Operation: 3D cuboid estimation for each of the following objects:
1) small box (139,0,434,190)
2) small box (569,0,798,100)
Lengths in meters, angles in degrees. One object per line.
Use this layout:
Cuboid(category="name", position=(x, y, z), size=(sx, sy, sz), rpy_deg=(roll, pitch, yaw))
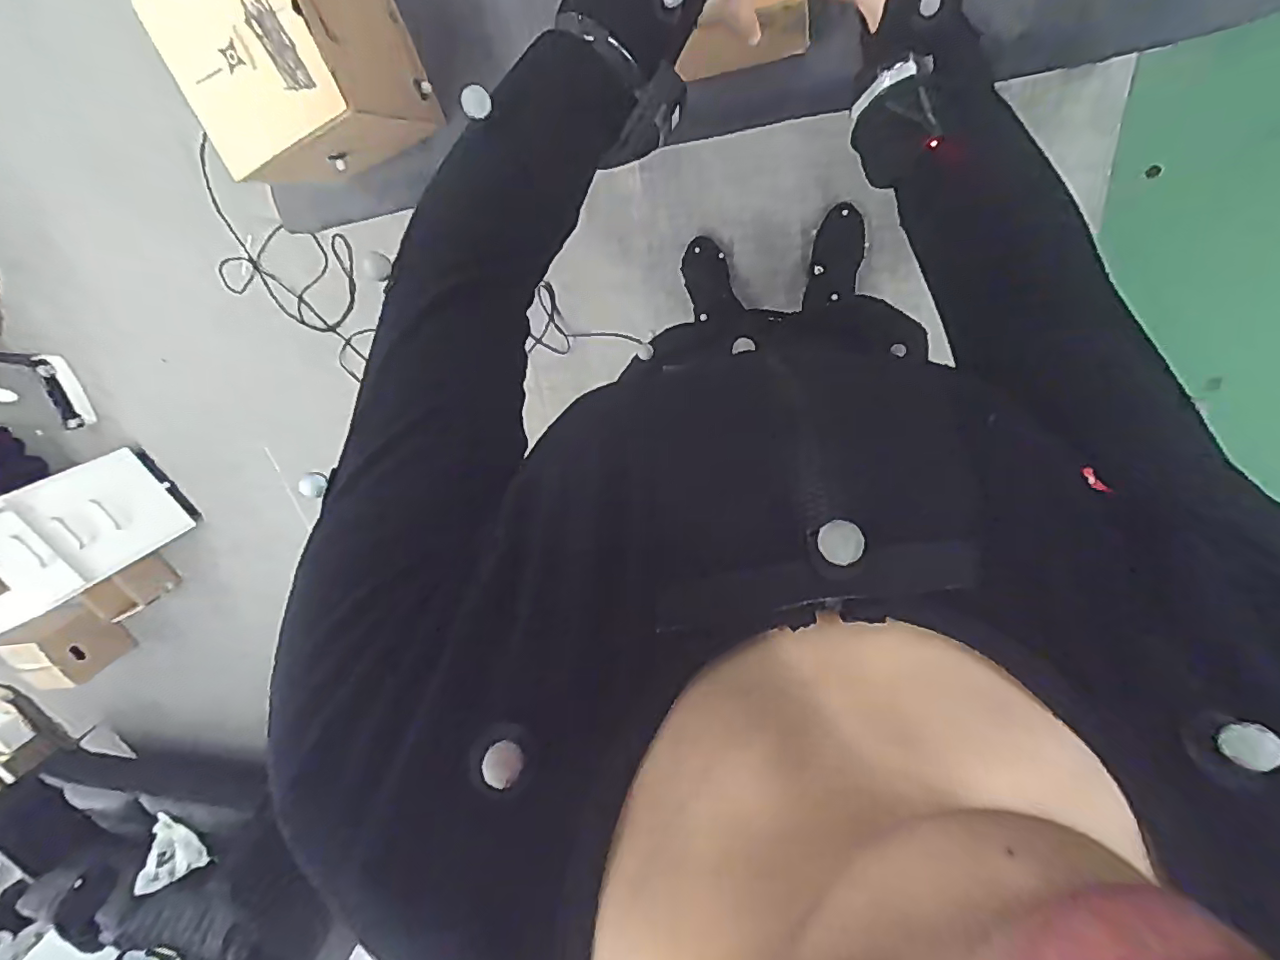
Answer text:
Cuboid(category="small box", position=(-0.353, -0.433, 0.581), size=(0.179, 0.176, 0.168), rpy_deg=(-11, 114, 23))
Cuboid(category="small box", position=(0.041, -0.446, 0.457), size=(0.179, 0.176, 0.168), rpy_deg=(-2, 115, 16))
